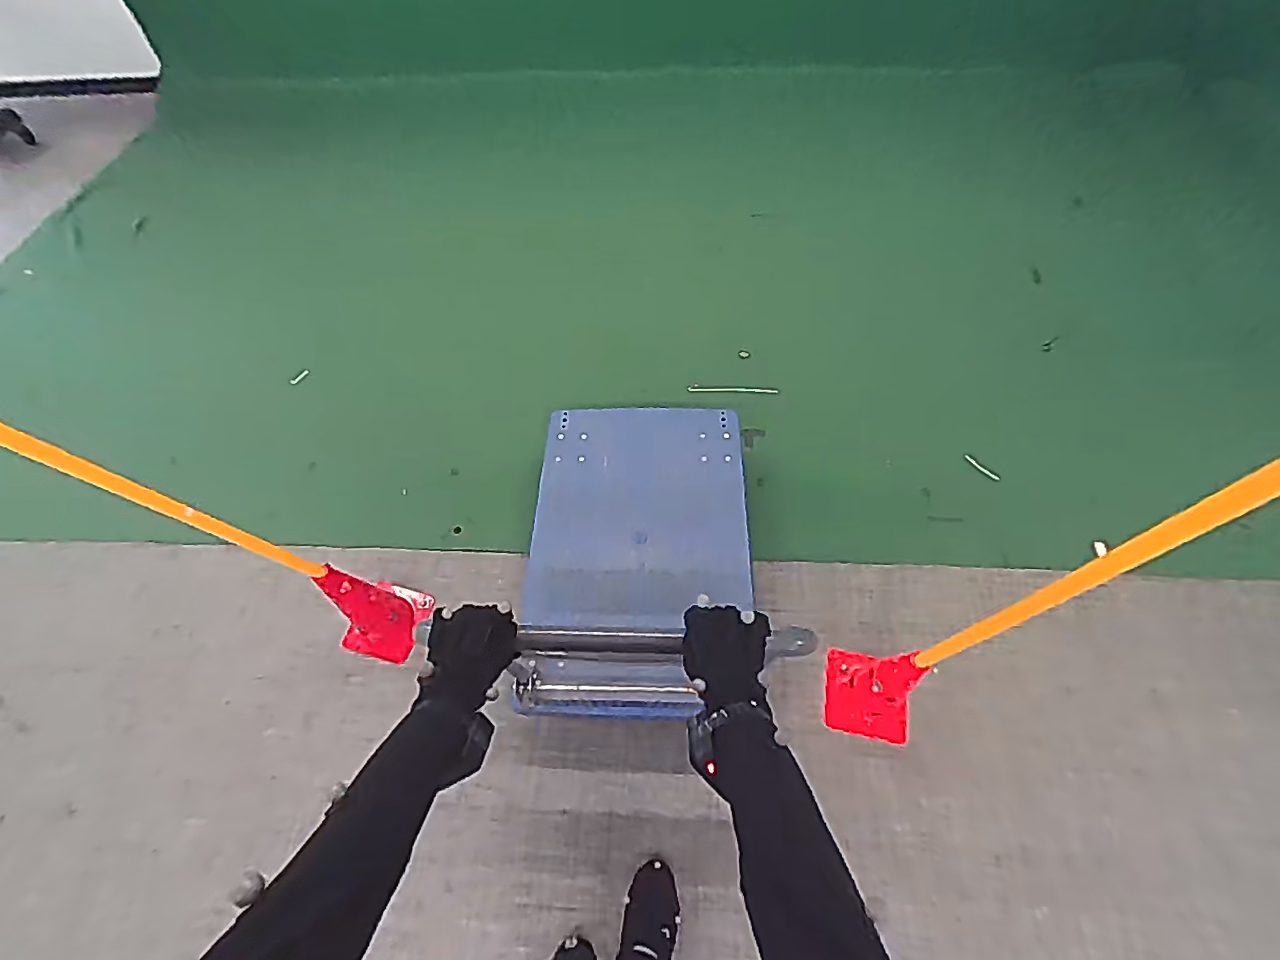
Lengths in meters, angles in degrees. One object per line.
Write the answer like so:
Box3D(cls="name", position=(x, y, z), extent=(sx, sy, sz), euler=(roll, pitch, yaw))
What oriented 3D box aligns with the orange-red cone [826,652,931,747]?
Box3D(cls="orange-red cone", position=(0.563, 0.453, 1.208), extent=(0.198, 0.360, 0.199), euler=(10, 59, 10))
